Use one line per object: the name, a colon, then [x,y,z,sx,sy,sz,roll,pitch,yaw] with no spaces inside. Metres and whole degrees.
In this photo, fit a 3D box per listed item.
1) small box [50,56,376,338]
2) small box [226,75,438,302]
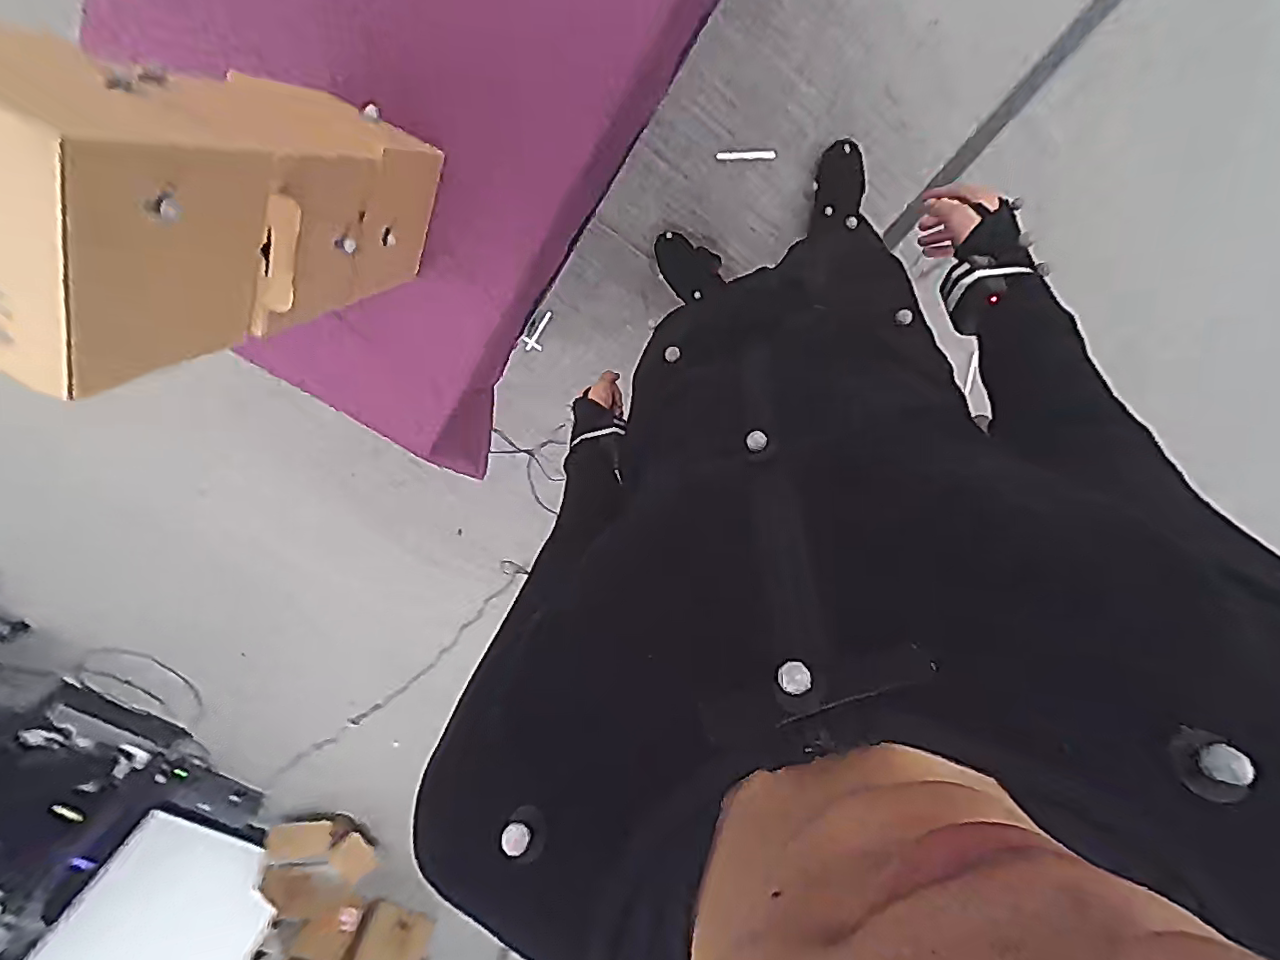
small box: [-0.395,-0.266,0.529,0.179,0.176,0.168,23,119,-8]
small box: [-0.373,-0.351,0.669,0.168,0.176,0.179,23,118,-8]
